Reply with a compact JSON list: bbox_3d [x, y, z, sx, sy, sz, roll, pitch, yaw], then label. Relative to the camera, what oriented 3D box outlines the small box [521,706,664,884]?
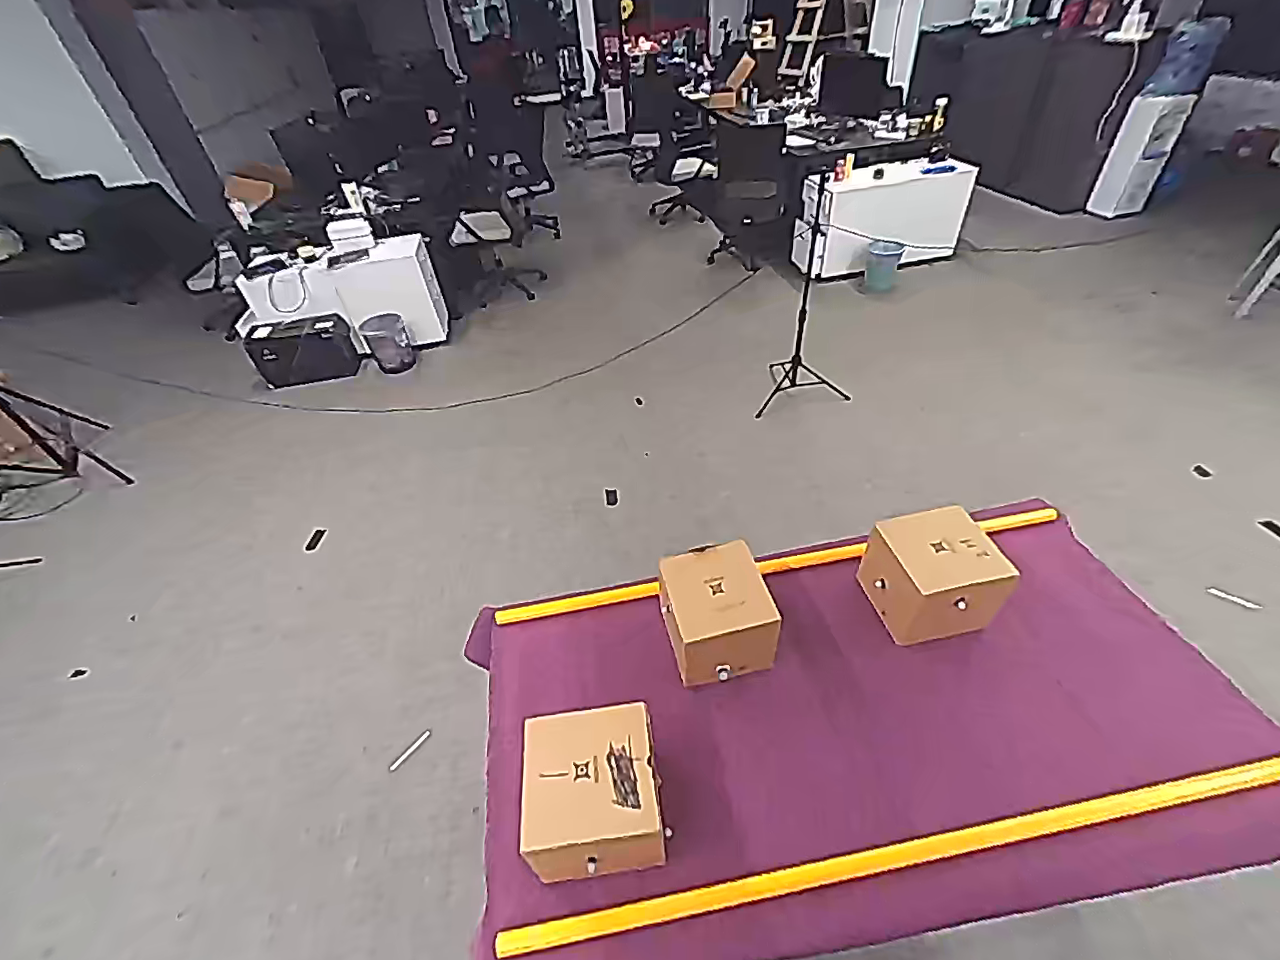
[{"bbox_3d":[-0.061,0.446,0.766,0.179,0.176,0.168,-7,42,-2],"label":"small box"}]

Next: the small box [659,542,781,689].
[{"bbox_3d":[0.135,0.243,0.971,0.168,0.176,0.179,-13,43,-6],"label":"small box"}]

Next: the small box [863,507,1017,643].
[{"bbox_3d":[0.530,0.177,0.993,0.179,0.176,0.168,-10,44,-5],"label":"small box"}]
